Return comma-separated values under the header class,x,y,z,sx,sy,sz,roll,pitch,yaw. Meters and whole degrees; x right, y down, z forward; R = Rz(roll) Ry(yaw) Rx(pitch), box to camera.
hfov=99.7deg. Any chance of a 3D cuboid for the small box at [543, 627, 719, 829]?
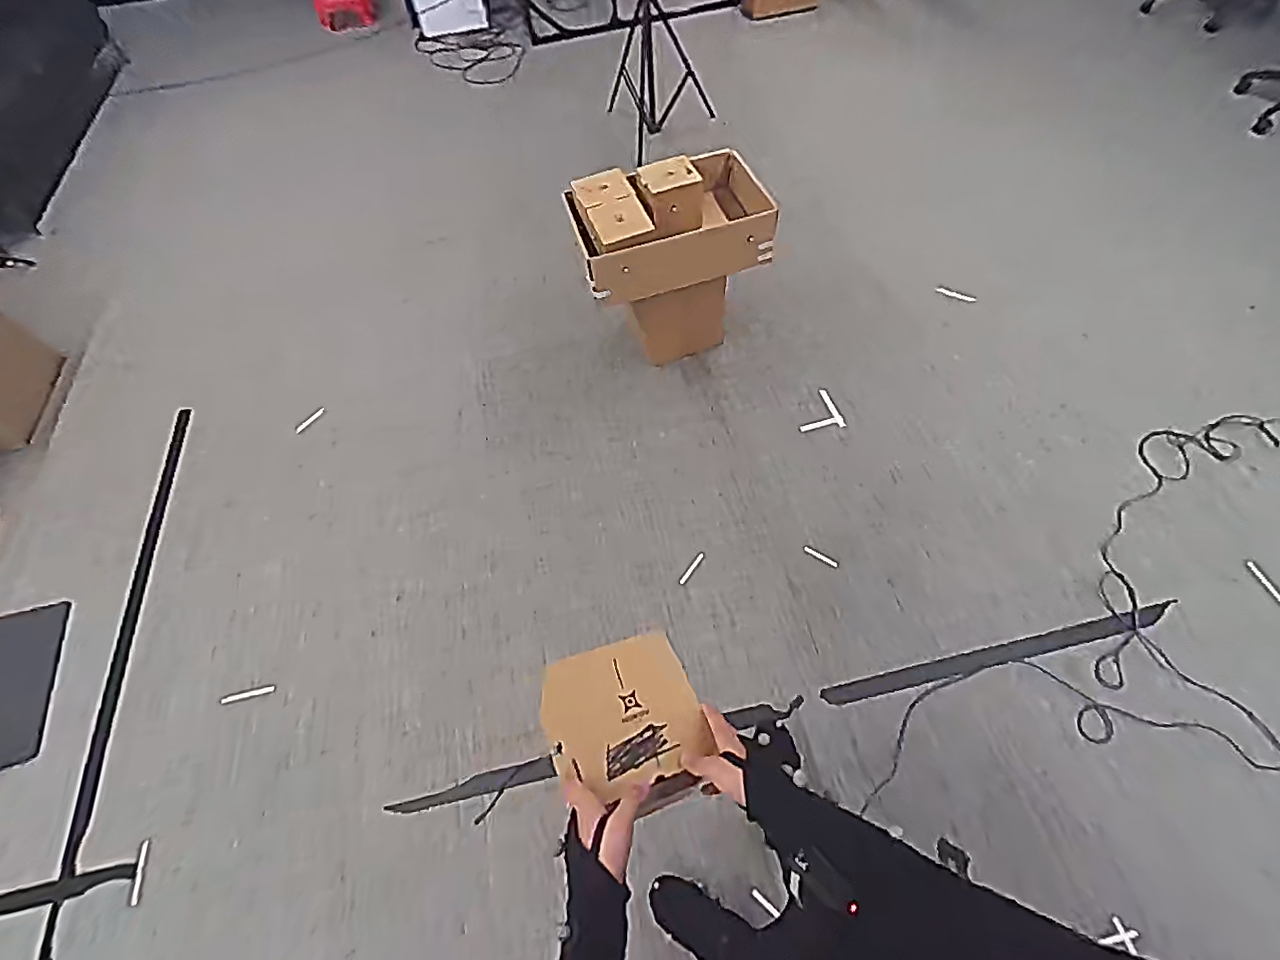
class,x,y,z,sx,sy,sz,roll,pitch,yaw
small box,-0.024,0.327,0.707,0.168,0.176,0.179,-11,50,-23
